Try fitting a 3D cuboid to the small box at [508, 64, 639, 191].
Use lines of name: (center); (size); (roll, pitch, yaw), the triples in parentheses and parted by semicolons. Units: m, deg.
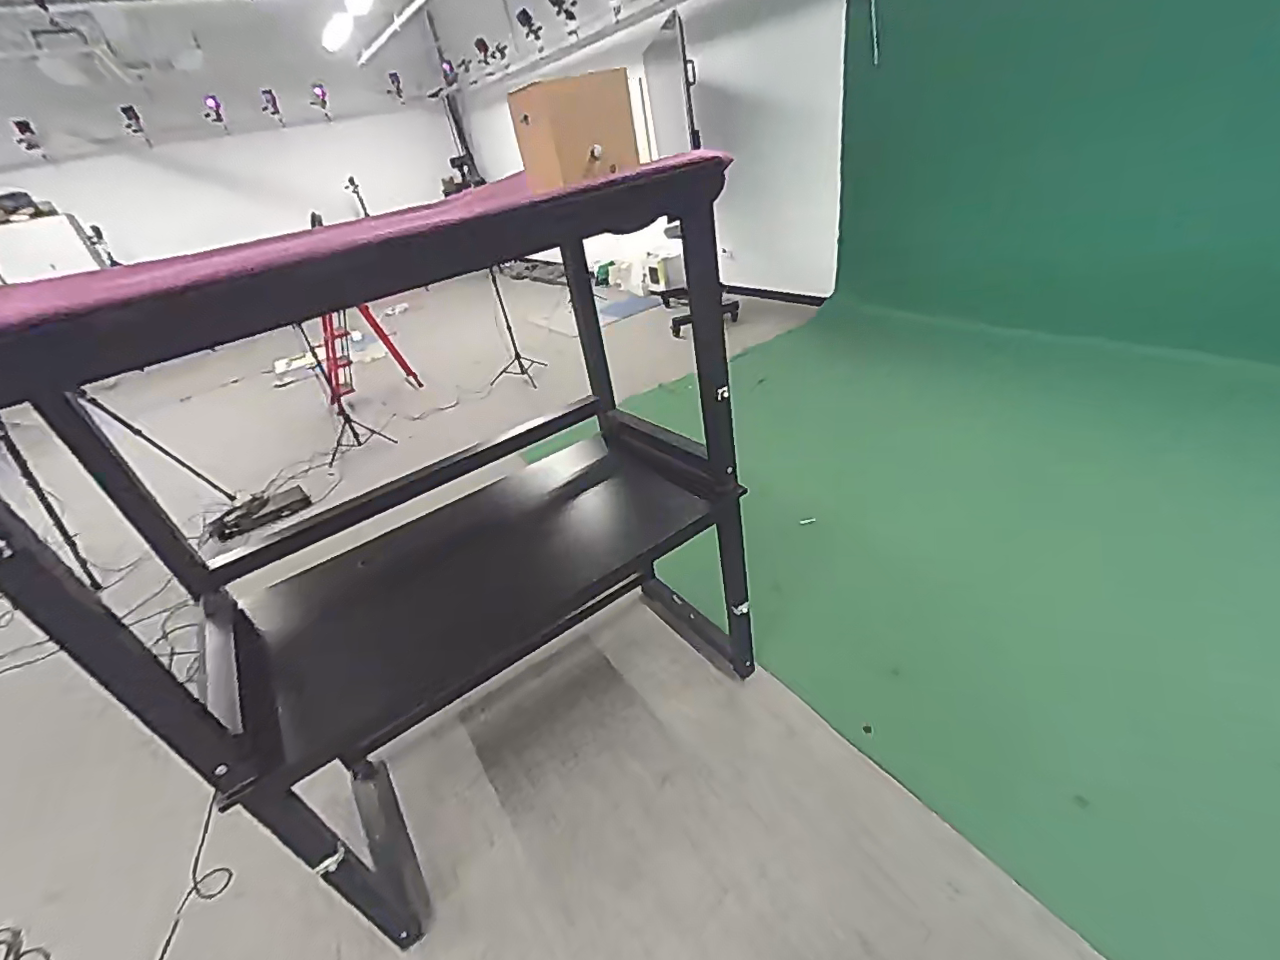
small box: (-0.120, -0.641, 0.998); (0.168, 0.176, 0.179); (-26, 36, -20)
